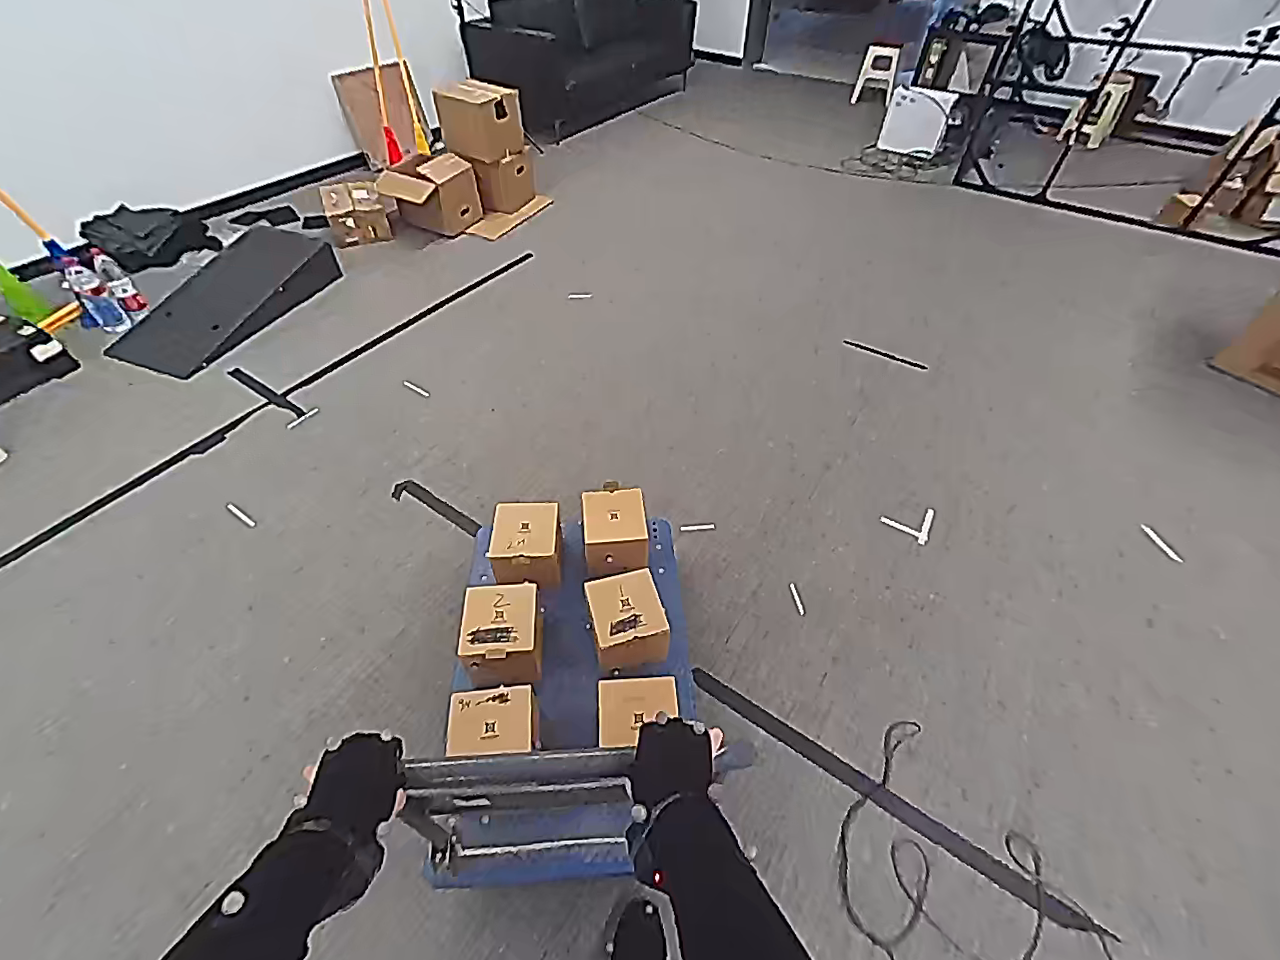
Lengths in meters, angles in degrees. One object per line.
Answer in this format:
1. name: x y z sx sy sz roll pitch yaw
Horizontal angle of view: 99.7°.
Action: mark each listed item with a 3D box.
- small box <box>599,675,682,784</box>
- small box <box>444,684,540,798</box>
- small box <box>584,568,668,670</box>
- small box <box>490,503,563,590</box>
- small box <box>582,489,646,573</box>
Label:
1. small box: -0.004 0.540 1.162 0.168 0.176 0.179 -1 47 -4
2. small box: -0.301 0.552 1.135 0.168 0.176 0.179 -4 49 -7
3. small box: -0.036 0.349 1.332 0.168 0.176 0.179 -11 49 -12
4. small box: -0.302 0.181 1.470 0.168 0.176 0.179 -1 49 -3
5. small box: -0.073 0.147 1.512 0.168 0.176 0.179 -4 48 -6
